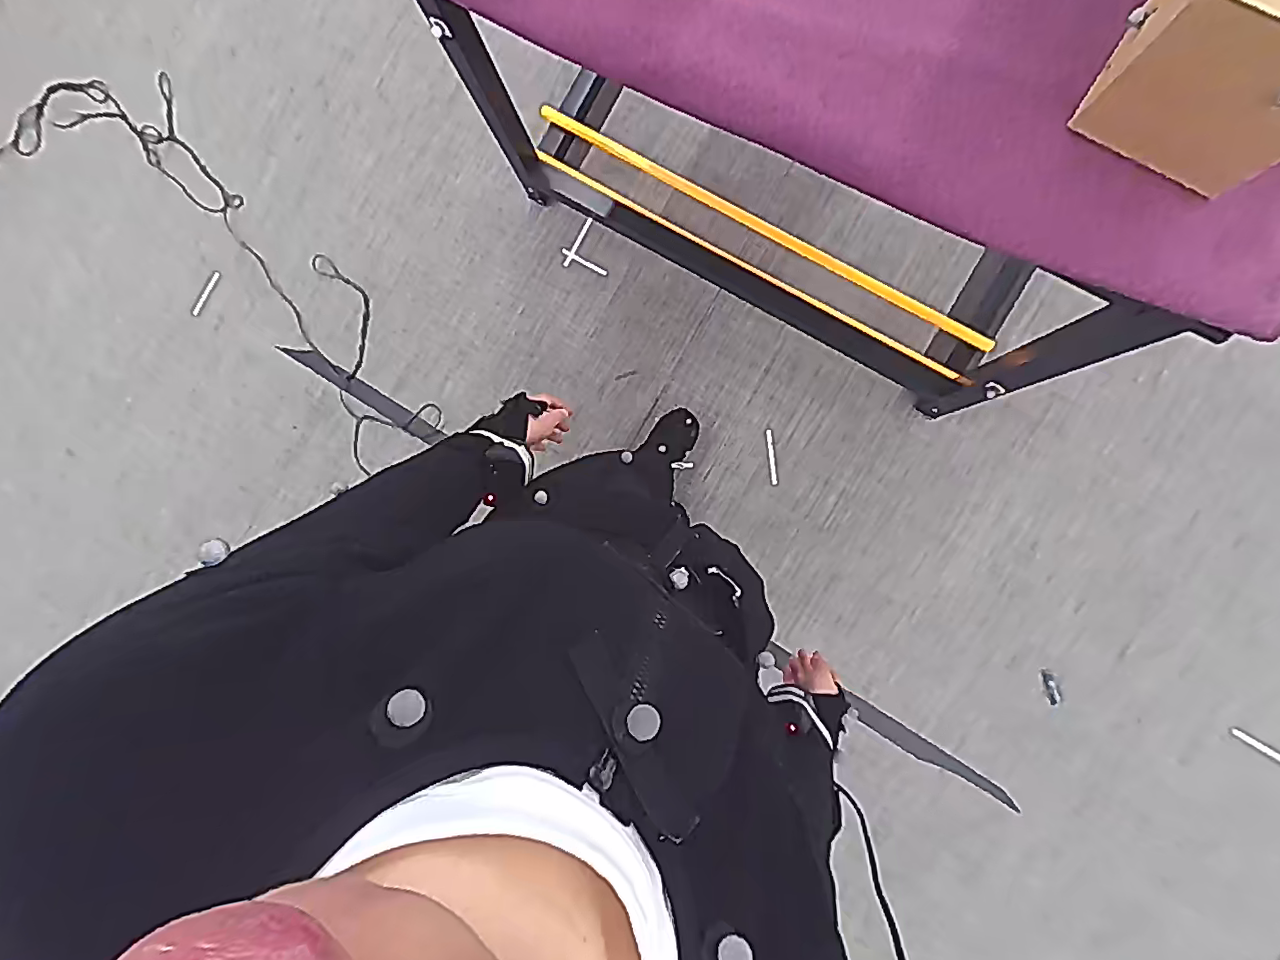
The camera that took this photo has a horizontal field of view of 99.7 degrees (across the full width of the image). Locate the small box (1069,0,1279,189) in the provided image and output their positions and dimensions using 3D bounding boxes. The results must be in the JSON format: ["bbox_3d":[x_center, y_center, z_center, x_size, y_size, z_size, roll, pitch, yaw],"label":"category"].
[{"bbox_3d":[0.583,-0.420,0.518,0.179,0.176,0.168,33,90,6],"label":"small box"}]
